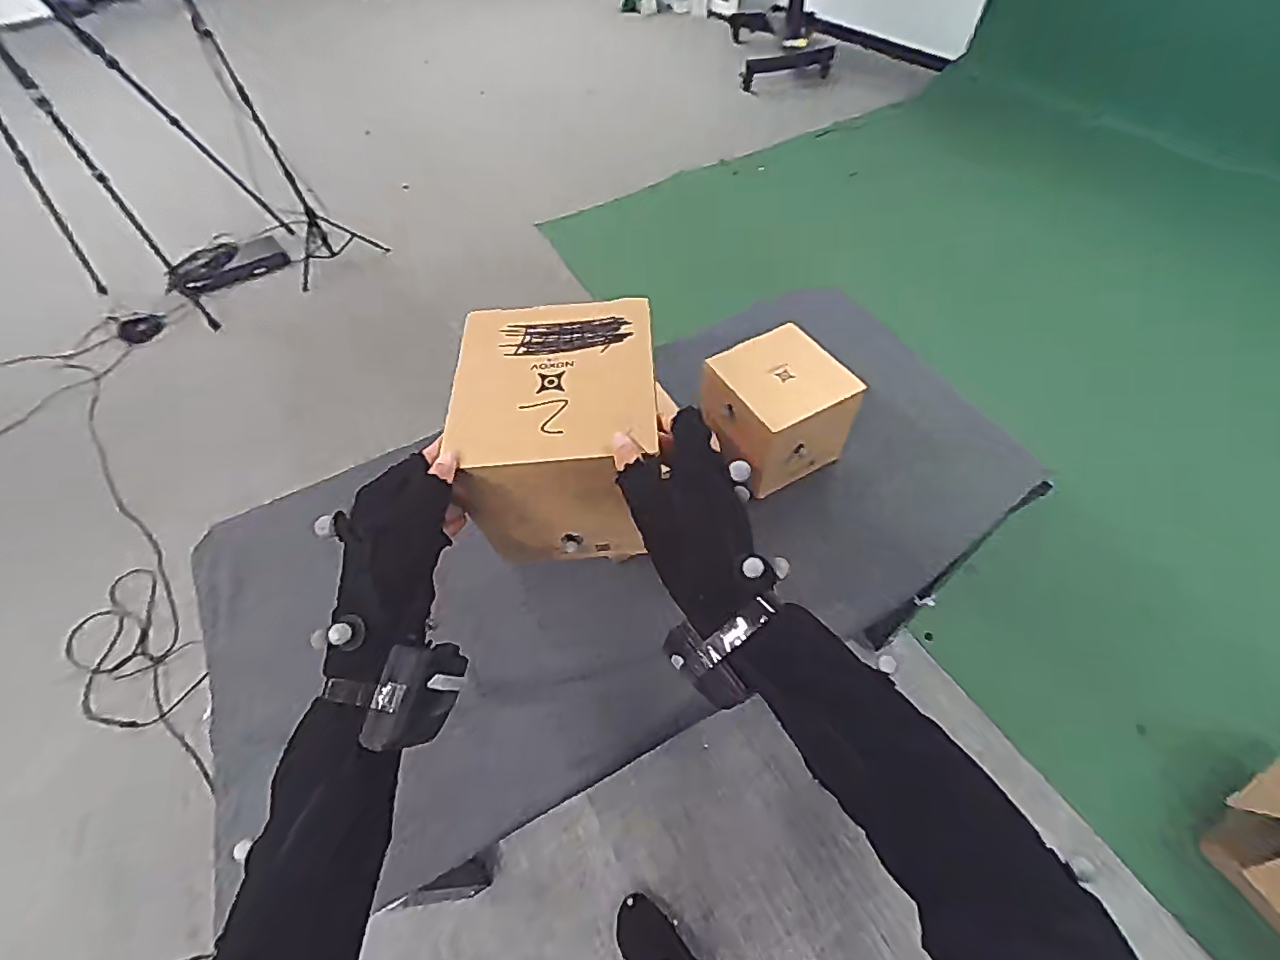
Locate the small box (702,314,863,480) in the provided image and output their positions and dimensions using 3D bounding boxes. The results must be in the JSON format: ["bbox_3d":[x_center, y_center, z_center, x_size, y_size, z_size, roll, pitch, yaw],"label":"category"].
[{"bbox_3d":[0.211,-0.122,0.851,0.168,0.176,0.179,-26,57,-14],"label":"small box"}]

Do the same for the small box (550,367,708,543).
[{"bbox_3d":[-0.013,-0.029,0.800,0.168,0.176,0.179,-24,56,-13],"label":"small box"}]
